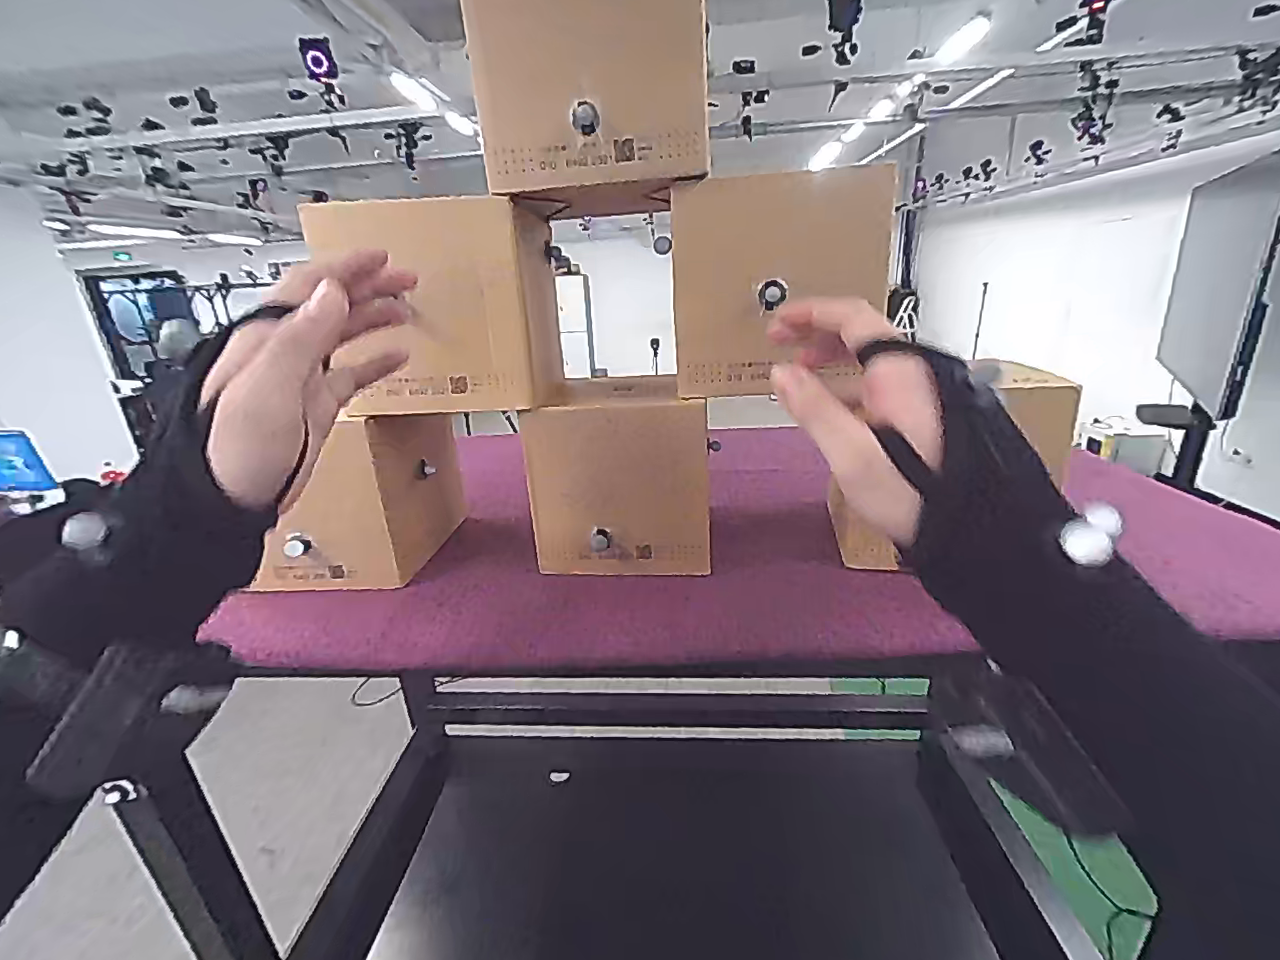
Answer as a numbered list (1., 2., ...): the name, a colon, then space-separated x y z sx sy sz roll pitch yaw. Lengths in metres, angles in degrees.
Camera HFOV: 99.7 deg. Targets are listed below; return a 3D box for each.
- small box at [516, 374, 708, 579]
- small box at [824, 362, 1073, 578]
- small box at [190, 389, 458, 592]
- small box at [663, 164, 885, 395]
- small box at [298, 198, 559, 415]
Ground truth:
1. small box: -0.015 -0.013 0.566 0.168 0.176 0.179 -2 20 8
2. small box: 0.278 -0.021 0.535 0.168 0.176 0.179 0 19 13
3. small box: -0.306 0.001 0.570 0.168 0.176 0.179 -2 20 4
4. small box: 0.114 -0.174 0.503 0.168 0.176 0.179 -1 19 7
5. small box: -0.176 -0.158 0.516 0.168 0.176 0.179 -2 19 2
